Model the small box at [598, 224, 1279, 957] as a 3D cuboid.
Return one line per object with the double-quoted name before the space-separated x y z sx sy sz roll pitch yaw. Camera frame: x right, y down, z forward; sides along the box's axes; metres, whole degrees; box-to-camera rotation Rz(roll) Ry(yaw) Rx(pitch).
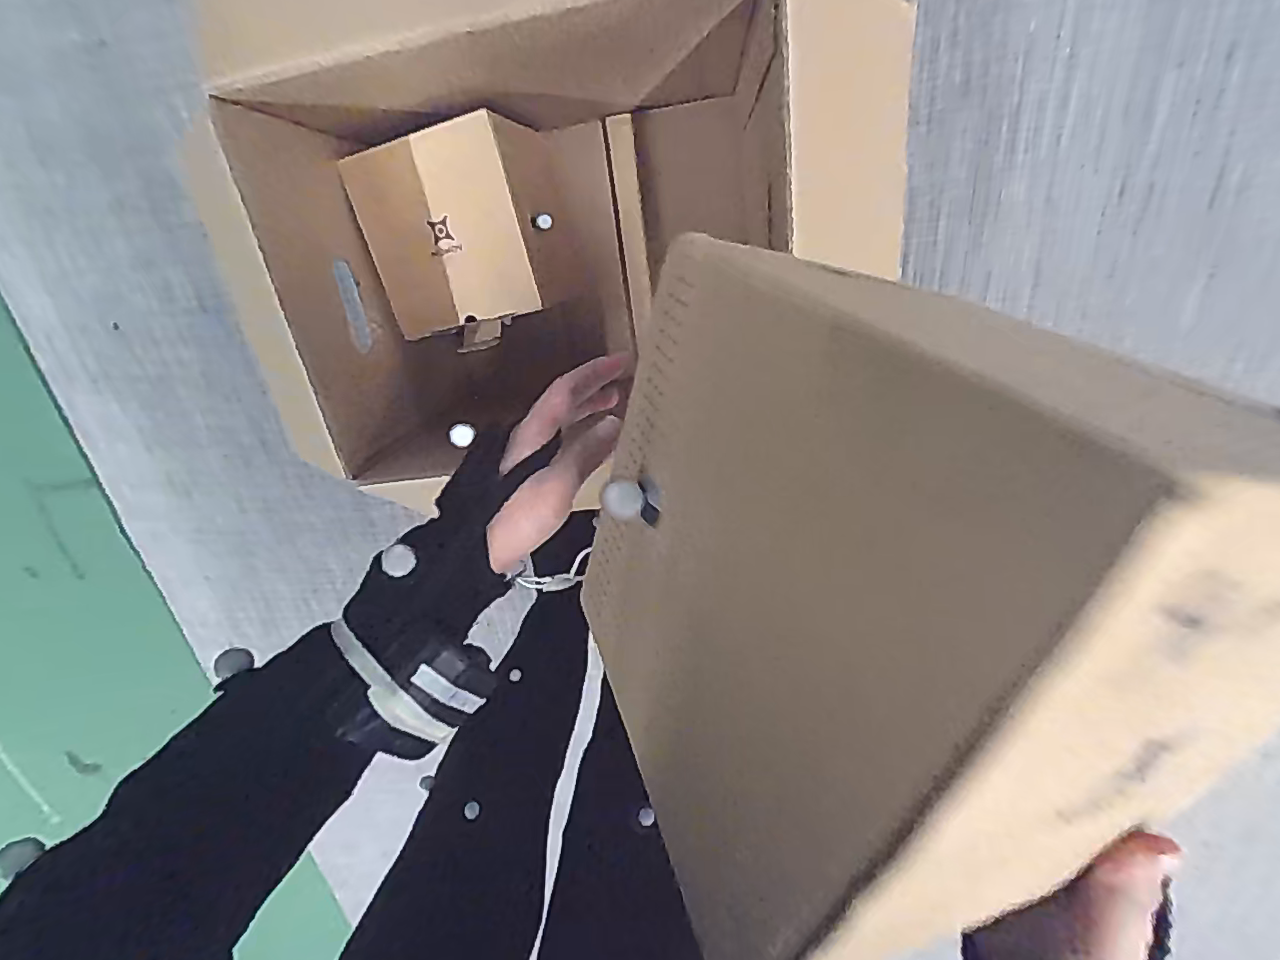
"small box" 0.090 0.023 0.206 0.168 0.176 0.179 1 122 -23
